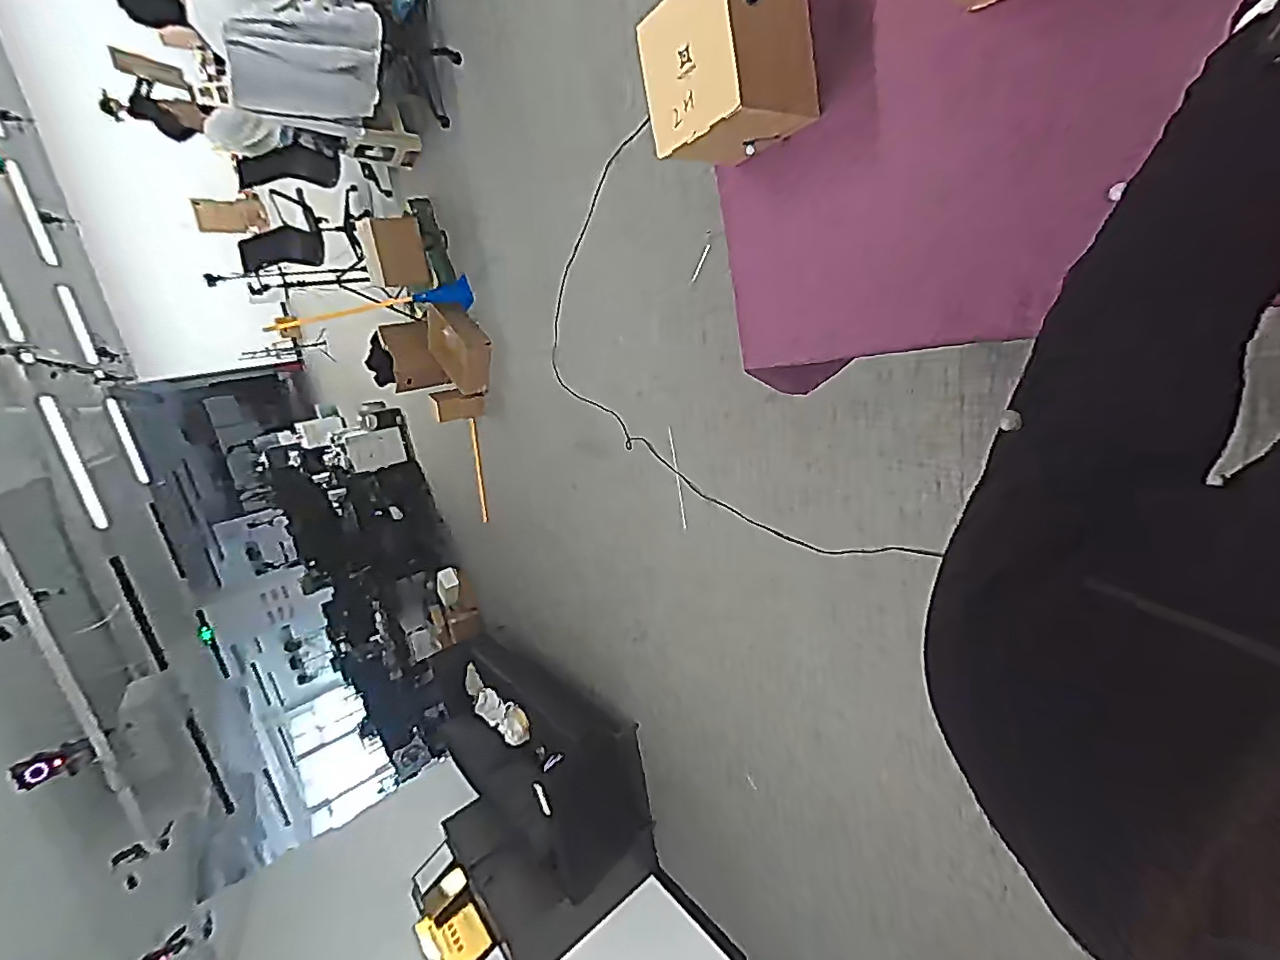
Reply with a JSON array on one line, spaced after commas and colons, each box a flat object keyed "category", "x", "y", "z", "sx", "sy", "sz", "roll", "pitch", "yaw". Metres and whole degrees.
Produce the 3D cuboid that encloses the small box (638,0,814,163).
[{"category": "small box", "x": 0.124, "y": -0.574, "z": 0.764, "sx": 0.168, "sy": 0.176, "sz": 0.179, "roll": 7, "pitch": 112, "yaw": 52}]
